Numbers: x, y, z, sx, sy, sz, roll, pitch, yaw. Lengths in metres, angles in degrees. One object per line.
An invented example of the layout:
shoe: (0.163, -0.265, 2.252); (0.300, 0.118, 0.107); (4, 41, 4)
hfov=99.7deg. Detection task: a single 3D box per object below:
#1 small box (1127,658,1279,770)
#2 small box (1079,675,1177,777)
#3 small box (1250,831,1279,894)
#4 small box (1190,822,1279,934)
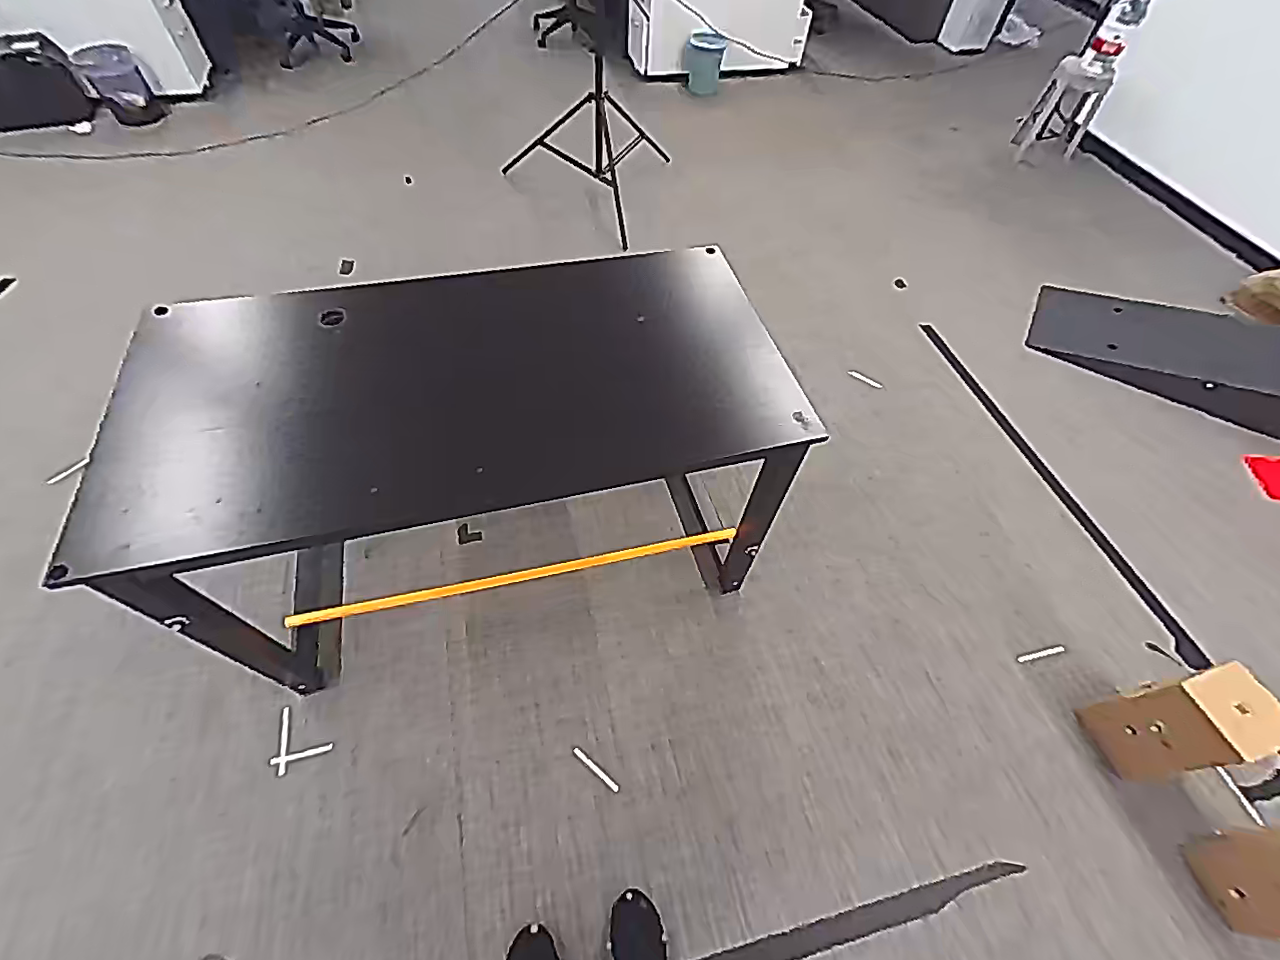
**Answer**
small box: (1.261, 0.522, 1.200); (0.179, 0.176, 0.168); (-15, 56, -11)
small box: (1.256, 0.610, 1.337); (0.168, 0.176, 0.179); (-12, 58, -11)
small box: (1.370, 0.766, 1.037); (0.179, 0.176, 0.168); (-10, 56, -9)
small box: (1.371, 0.861, 1.174); (0.179, 0.176, 0.168); (-11, 57, -10)
